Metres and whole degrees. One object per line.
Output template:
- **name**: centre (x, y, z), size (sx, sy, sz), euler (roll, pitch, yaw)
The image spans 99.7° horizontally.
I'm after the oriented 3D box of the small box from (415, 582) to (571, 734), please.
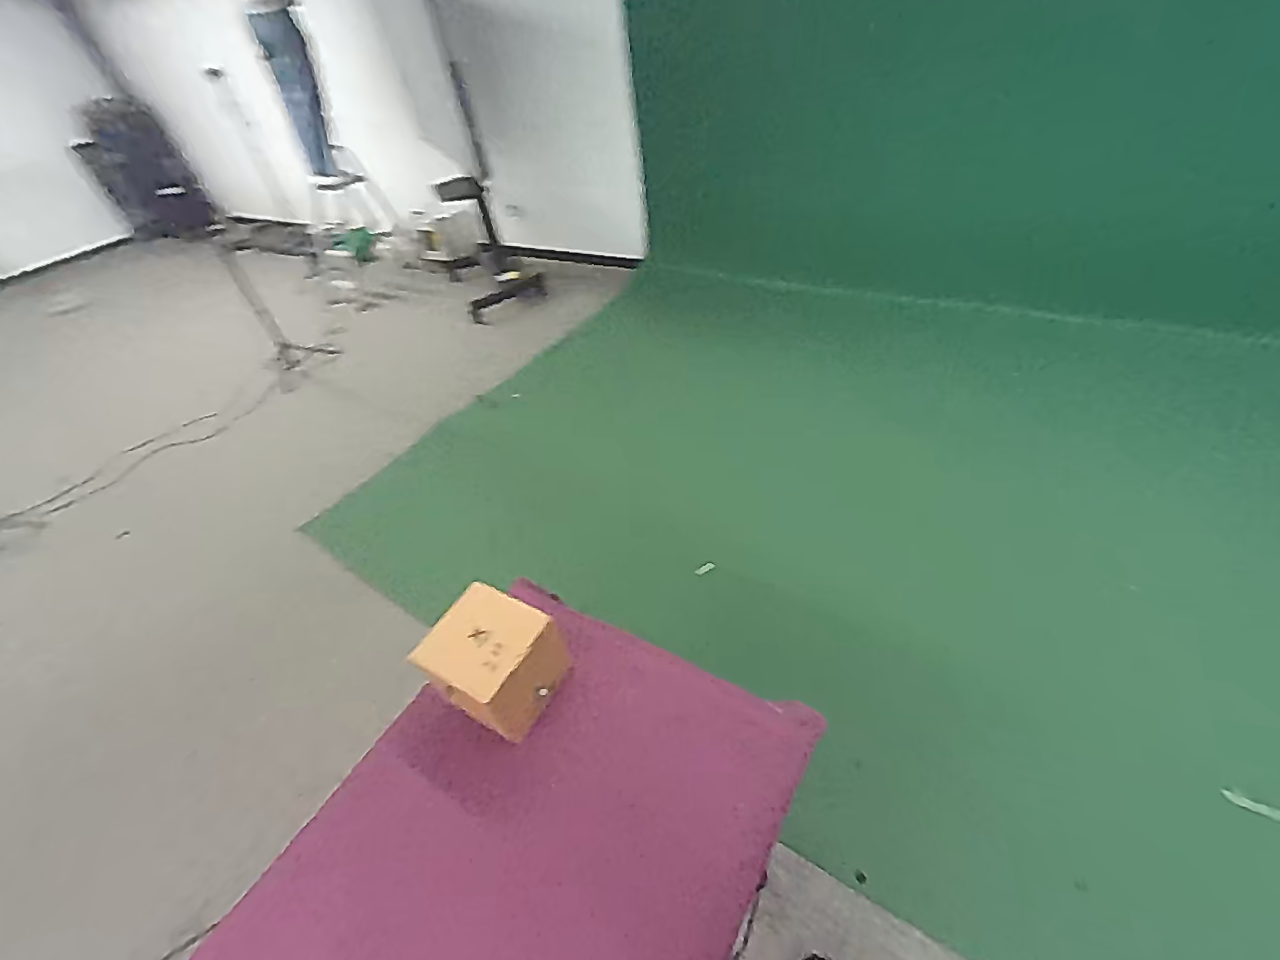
- **small box**: centre (-0.249, 0.317, 0.956), size (0.179, 0.176, 0.168), euler (18, 53, 27)
